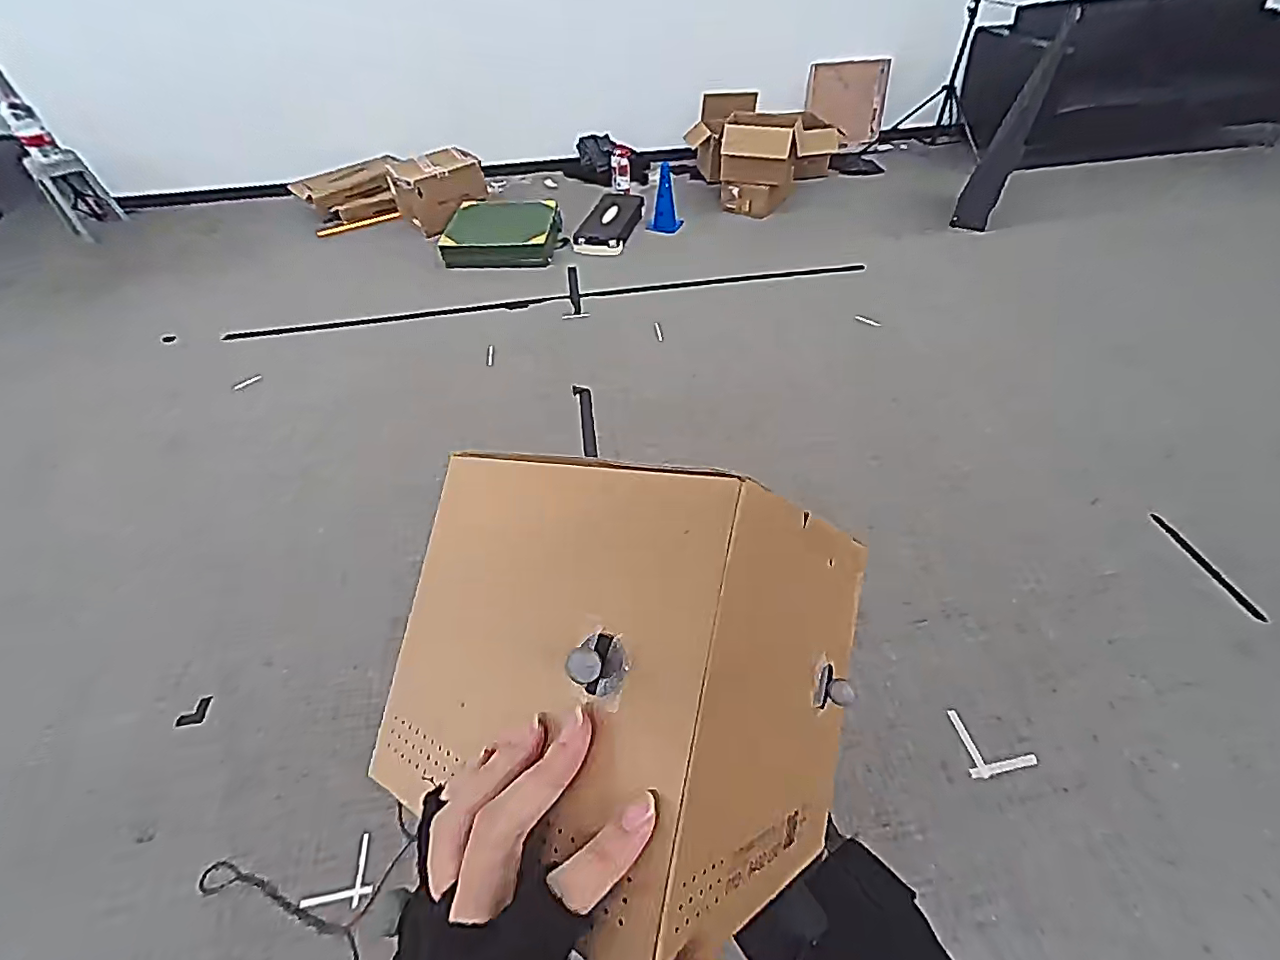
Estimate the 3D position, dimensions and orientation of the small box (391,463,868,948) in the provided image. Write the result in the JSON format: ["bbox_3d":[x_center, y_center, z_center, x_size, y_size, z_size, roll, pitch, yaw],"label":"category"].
[{"bbox_3d":[0.000,0.097,0.290,0.179,0.168,0.176,5,79,38],"label":"small box"}]
